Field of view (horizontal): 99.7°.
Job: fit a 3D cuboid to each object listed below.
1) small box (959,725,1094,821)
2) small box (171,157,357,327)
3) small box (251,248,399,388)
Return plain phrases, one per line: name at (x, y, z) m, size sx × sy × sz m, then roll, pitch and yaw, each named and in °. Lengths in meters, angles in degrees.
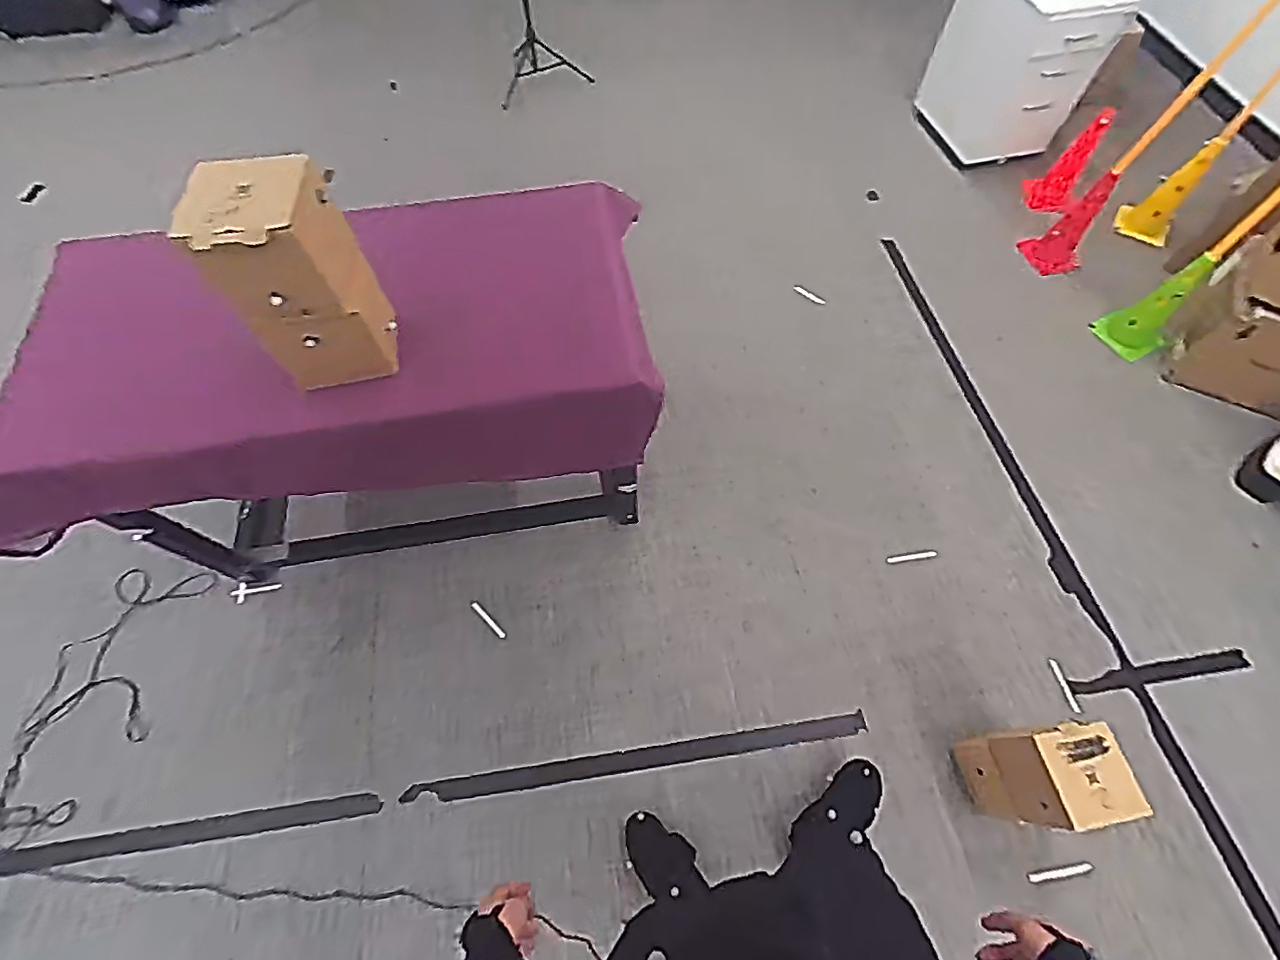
small box at (0.904, 0.697, 1.292) m, size 0.179 × 0.176 × 0.168 m, roll -12°, pitch 64°, yaw -6°
small box at (-0.568, -0.369, 0.847) m, size 0.168 × 0.176 × 0.179 m, roll -7°, pitch 63°, yaw -3°
small box at (-0.565, -0.289, 0.992) m, size 0.179 × 0.176 × 0.168 m, roll -12°, pitch 63°, yaw -6°
